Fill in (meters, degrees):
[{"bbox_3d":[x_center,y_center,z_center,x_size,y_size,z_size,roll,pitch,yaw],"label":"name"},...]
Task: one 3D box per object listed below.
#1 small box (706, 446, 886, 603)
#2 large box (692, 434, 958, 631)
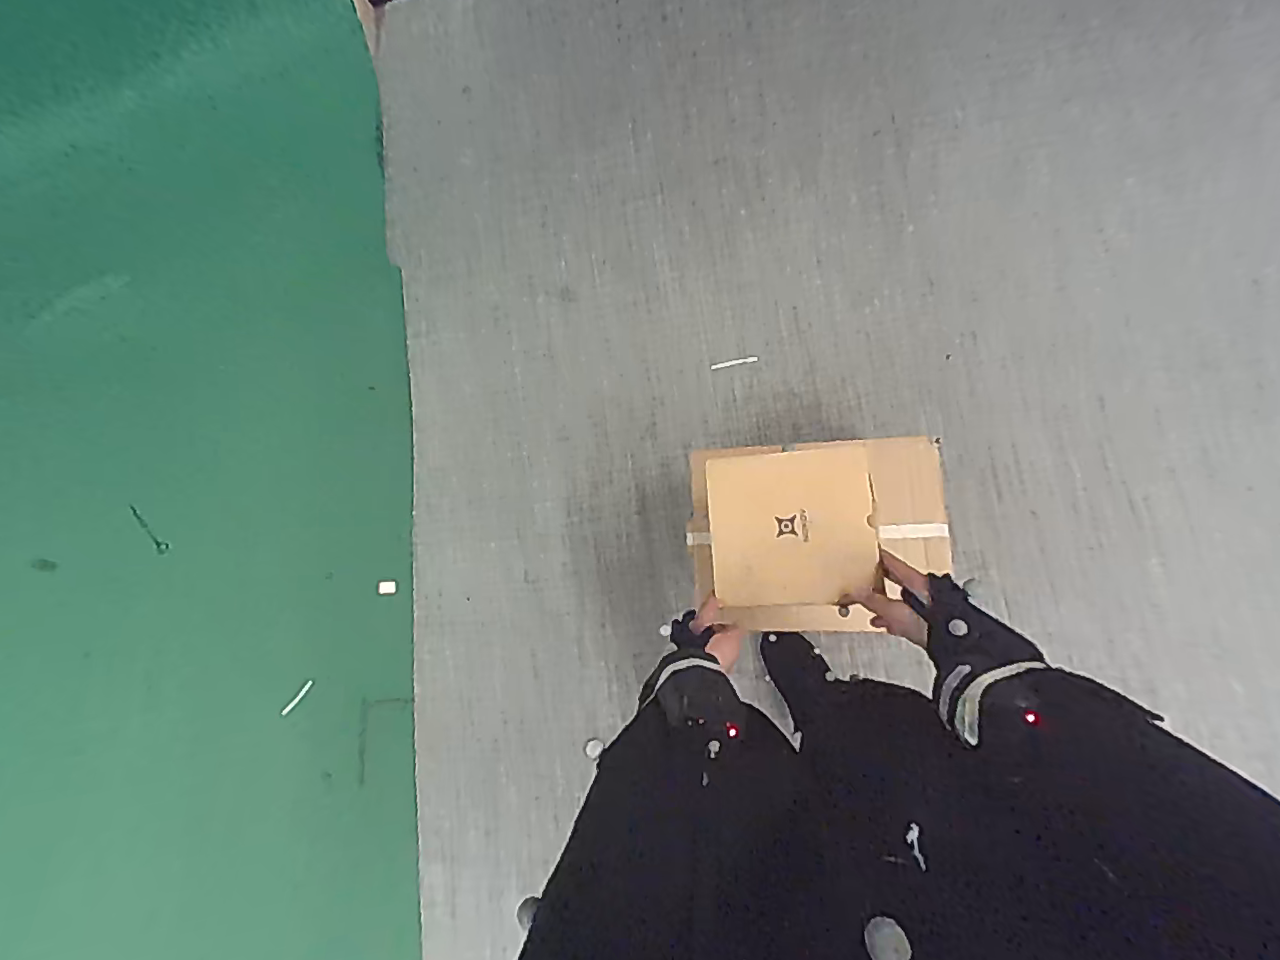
[{"bbox_3d":[0.179,0.064,0.653,0.179,0.176,0.168,-5,79,11],"label":"small box"},{"bbox_3d":[0.320,0.113,1.037,0.408,0.320,0.320,-3,81,11],"label":"large box"}]
